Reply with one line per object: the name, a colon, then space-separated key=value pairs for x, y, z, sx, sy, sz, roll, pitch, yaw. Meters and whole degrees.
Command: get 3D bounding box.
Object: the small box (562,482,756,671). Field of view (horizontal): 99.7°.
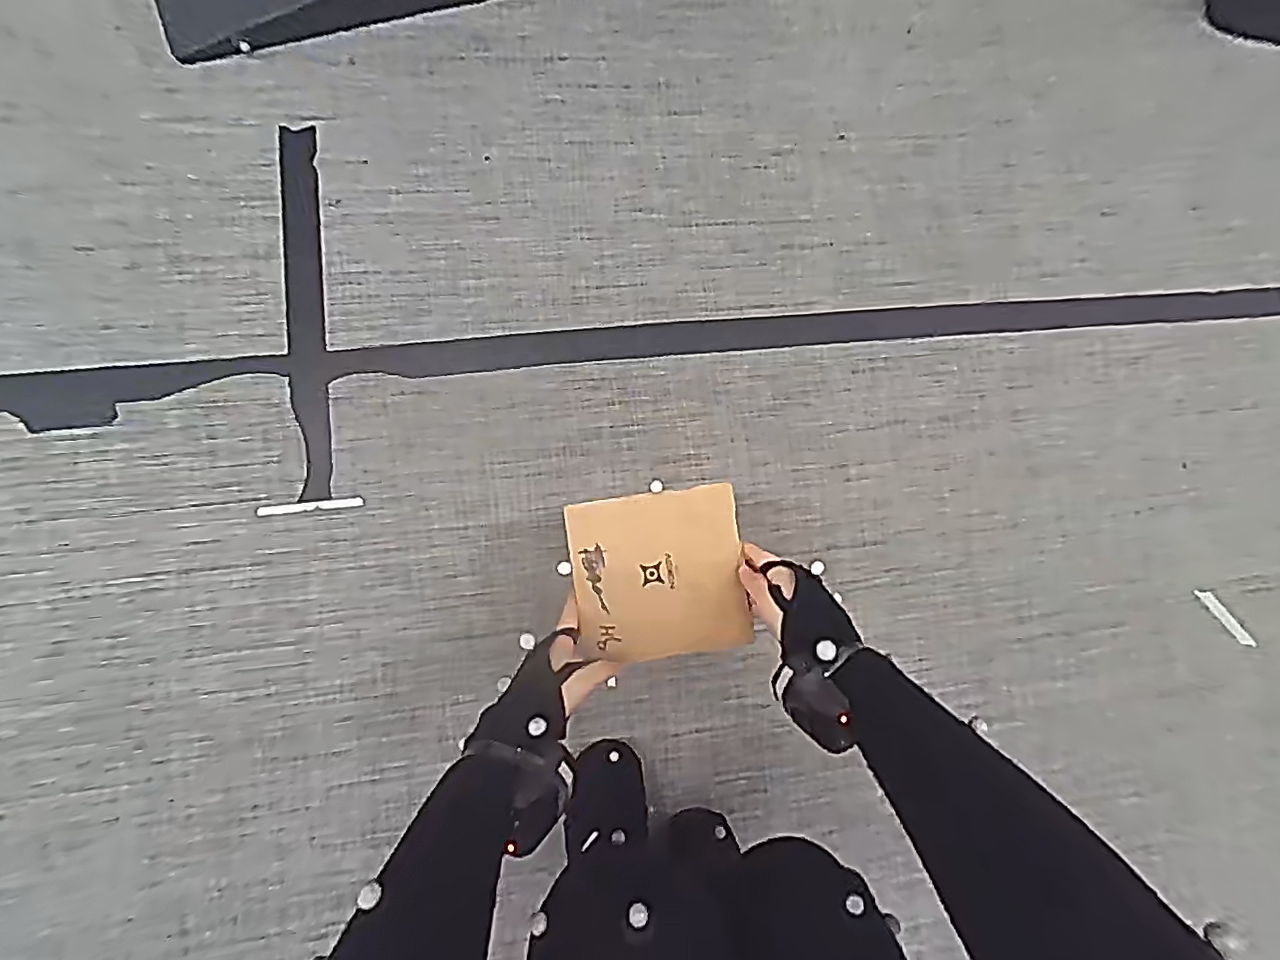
small box: x=0.012 y=0.095 z=0.605 sx=0.179 sy=0.176 sz=0.168 roll=-8 pitch=87 yaw=-5
